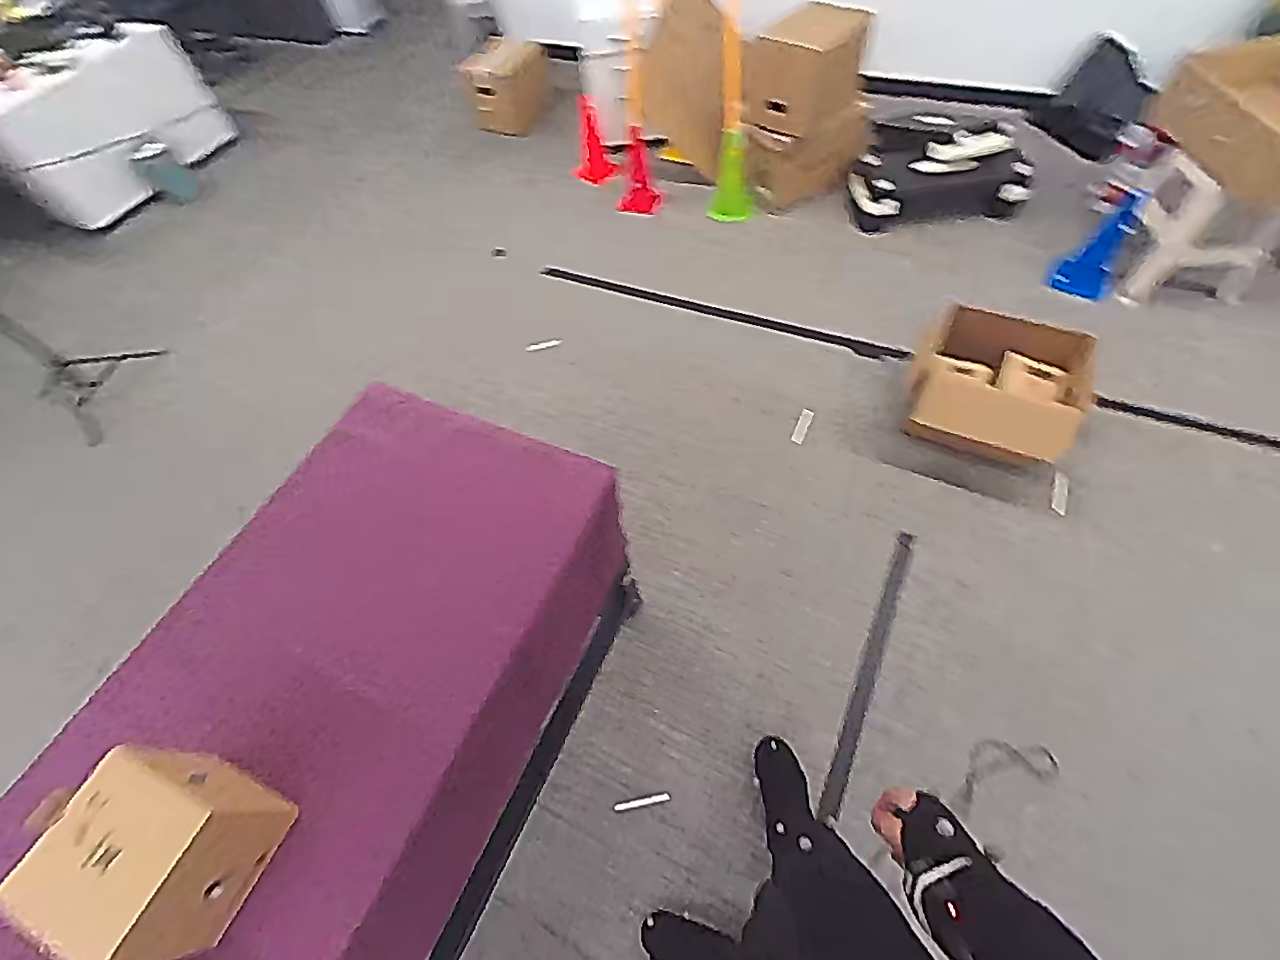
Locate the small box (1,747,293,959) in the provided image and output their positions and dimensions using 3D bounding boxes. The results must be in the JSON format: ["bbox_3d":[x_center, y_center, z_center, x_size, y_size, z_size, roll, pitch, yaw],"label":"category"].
[{"bbox_3d":[-0.596,0.461,0.682,0.179,0.176,0.168,18,62,16],"label":"small box"}]
